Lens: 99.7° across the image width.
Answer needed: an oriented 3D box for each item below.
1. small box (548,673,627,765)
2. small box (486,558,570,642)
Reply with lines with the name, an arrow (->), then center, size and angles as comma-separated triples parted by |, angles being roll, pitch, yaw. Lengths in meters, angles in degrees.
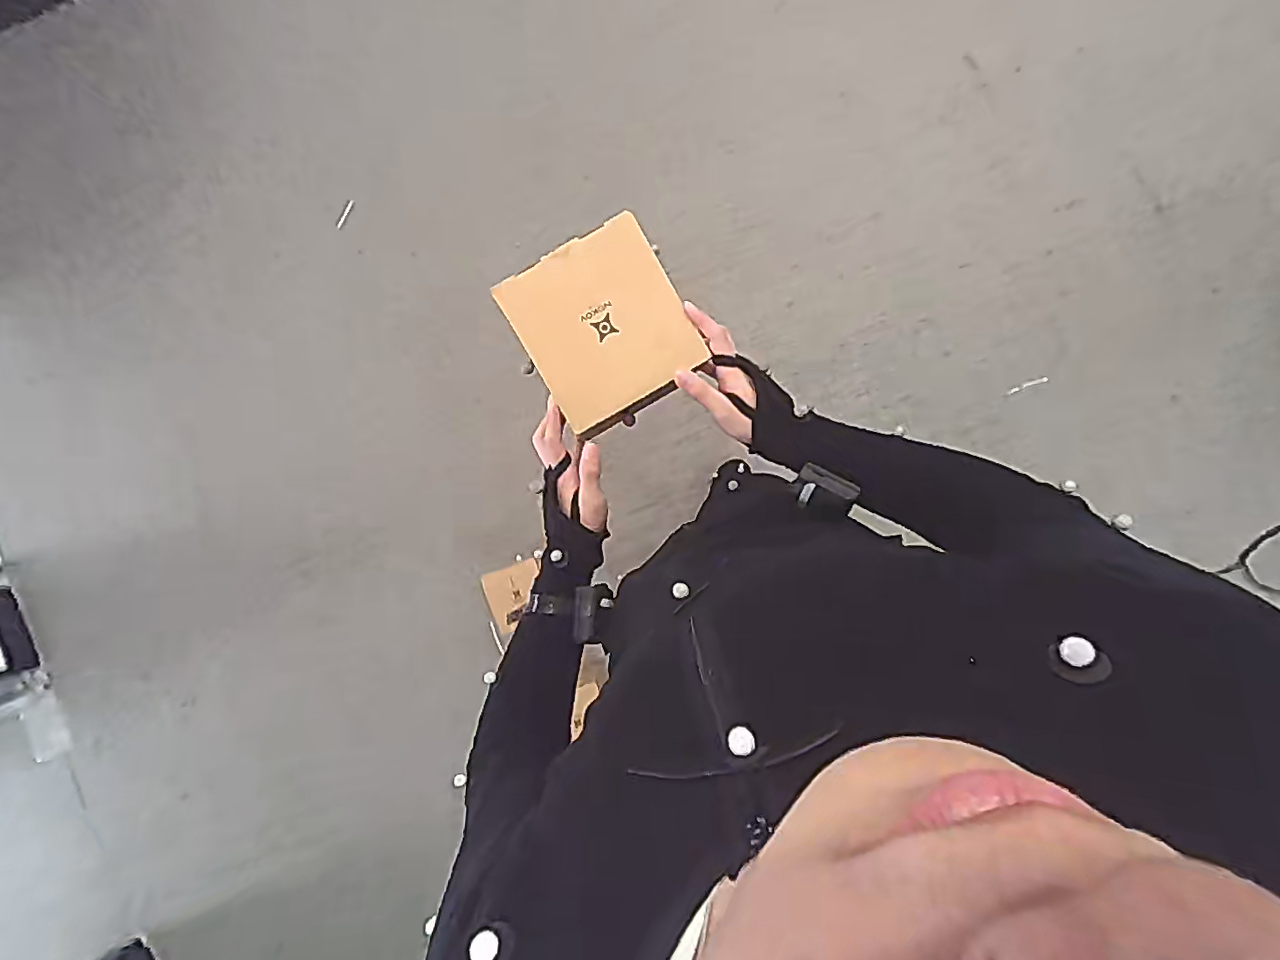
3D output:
small box -> -0.145, 0.673, 1.550 | 0.168, 0.176, 0.179 | -19, 87, 3
small box -> -0.317, 0.342, 1.566 | 0.168, 0.176, 0.179 | -21, 87, 3
